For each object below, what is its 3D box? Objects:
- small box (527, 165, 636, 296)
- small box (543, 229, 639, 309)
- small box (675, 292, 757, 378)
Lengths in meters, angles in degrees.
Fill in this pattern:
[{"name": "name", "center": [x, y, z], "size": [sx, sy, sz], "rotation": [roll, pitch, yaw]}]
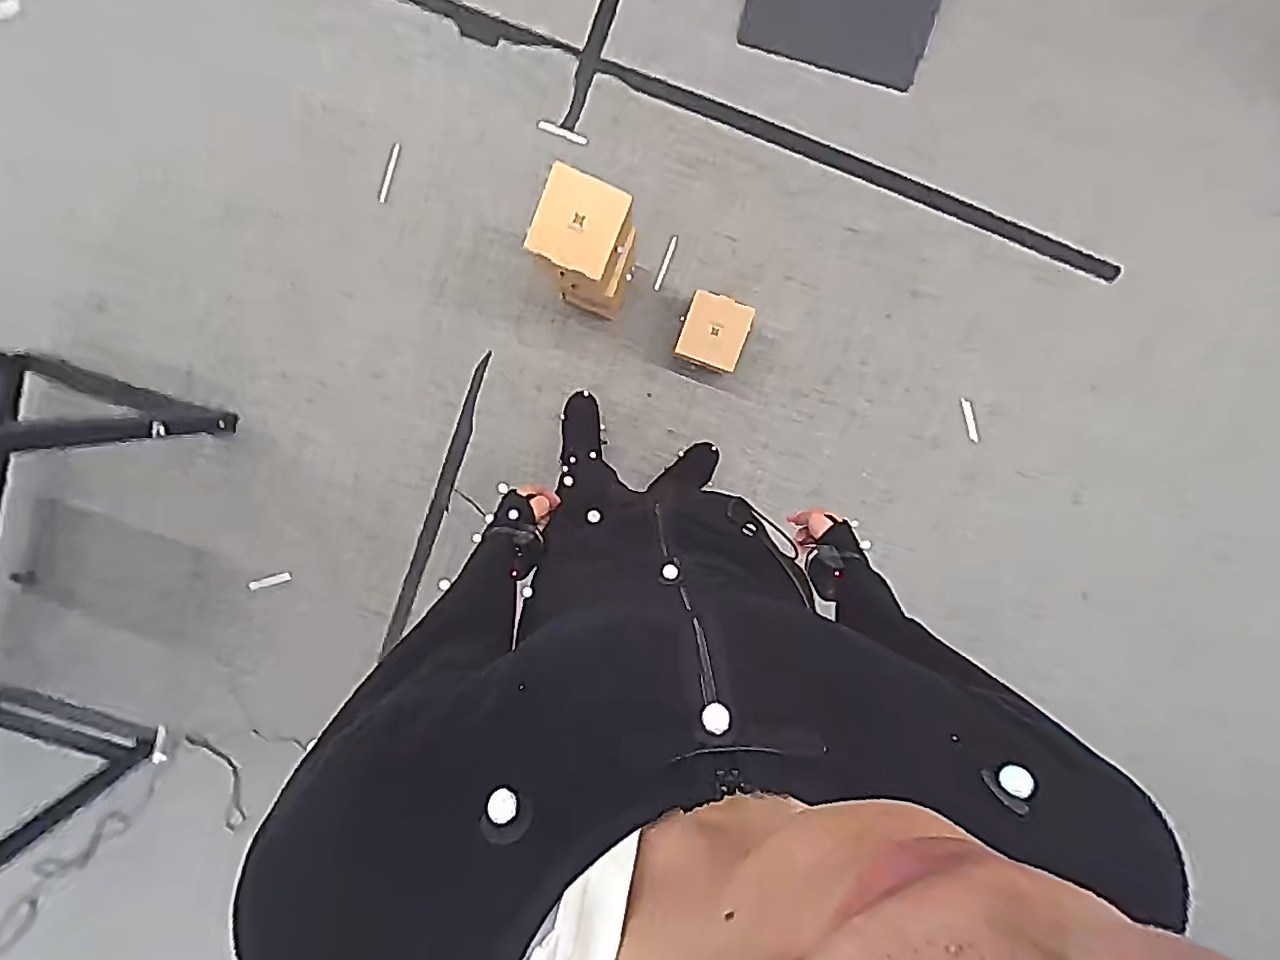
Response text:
[{"name": "small box", "center": [-0.118, -0.509, 1.130], "size": [0.168, 0.176, 0.179], "rotation": [23, 99, -4]}, {"name": "small box", "center": [-0.113, -0.525, 1.293], "size": [0.179, 0.176, 0.168], "rotation": [21, 98, -5]}, {"name": "small box", "center": [0.200, -0.391, 1.485], "size": [0.168, 0.176, 0.179], "rotation": [19, 99, -2]}]
